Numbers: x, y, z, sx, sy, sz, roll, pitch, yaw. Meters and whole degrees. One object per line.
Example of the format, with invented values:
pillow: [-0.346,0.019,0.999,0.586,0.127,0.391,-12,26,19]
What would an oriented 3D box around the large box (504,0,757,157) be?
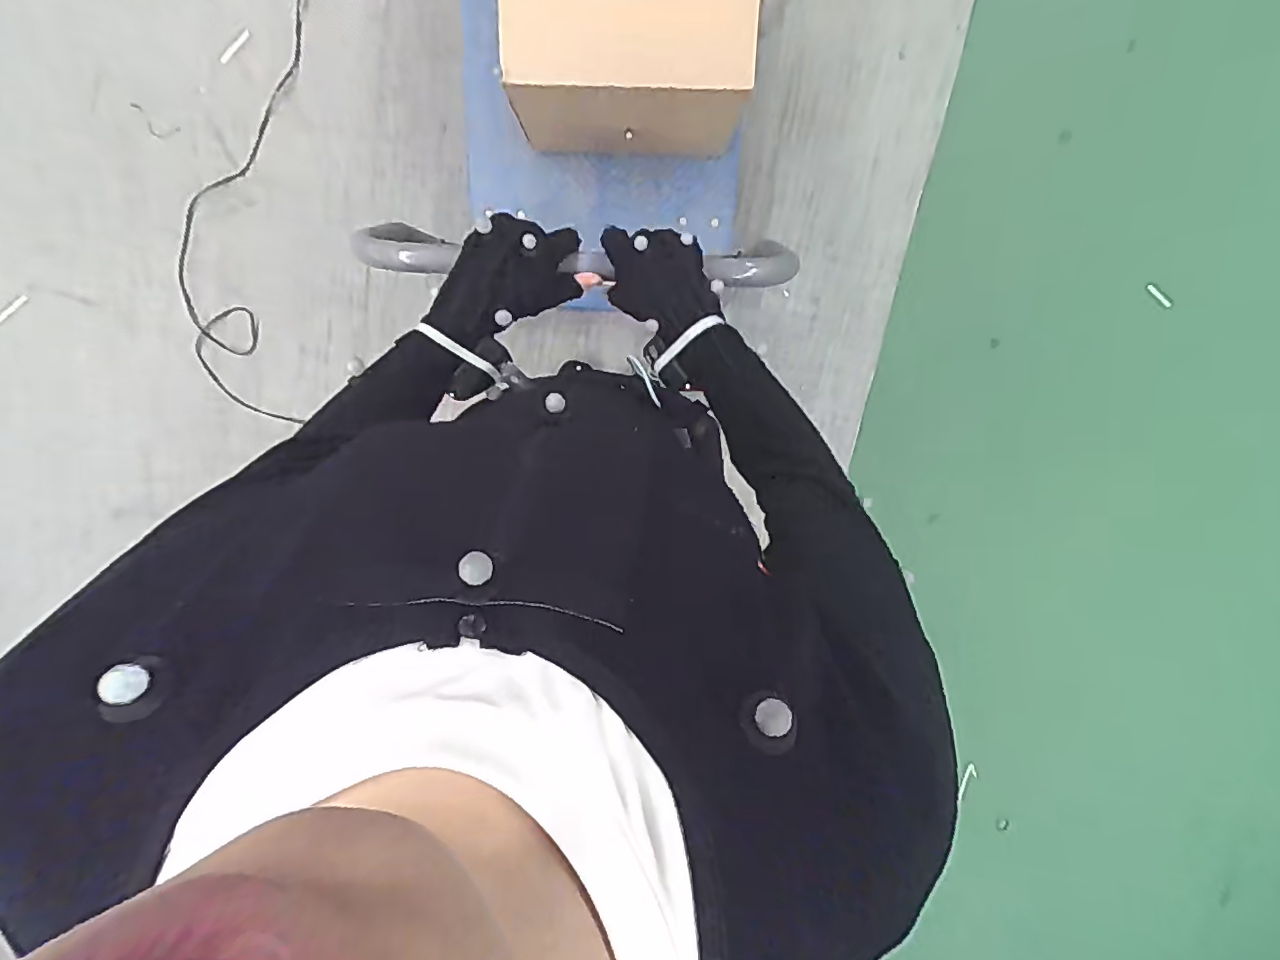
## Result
large box: [-0.012,-0.806,0.984,0.408,0.320,0.320,1,102,0]
